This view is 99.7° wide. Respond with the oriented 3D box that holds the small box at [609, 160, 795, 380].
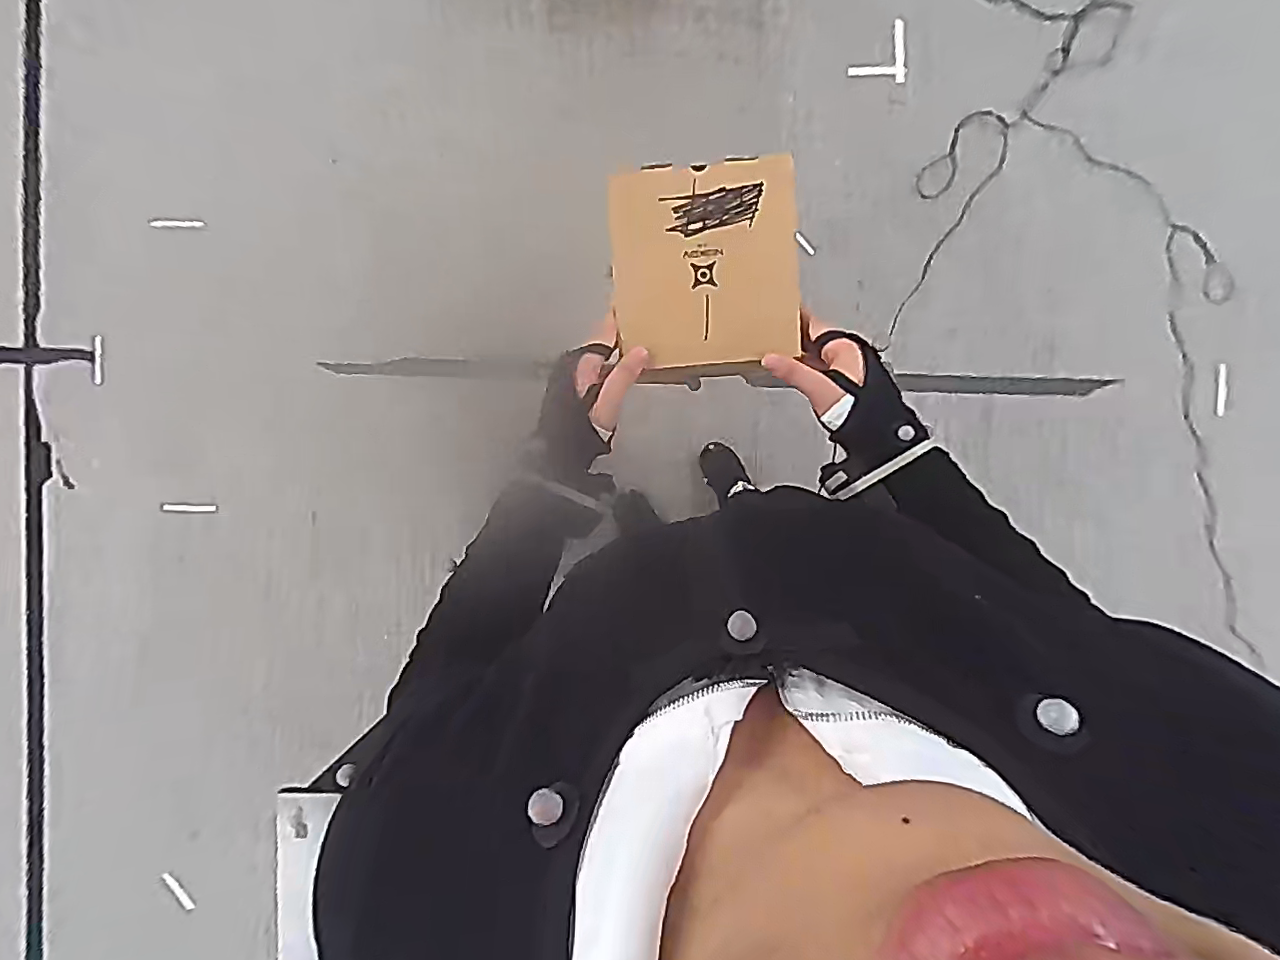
[{"bbox_3d":[0.057,-0.201,0.562,0.168,0.176,0.179,-3,98,1],"label":"small box"}]
